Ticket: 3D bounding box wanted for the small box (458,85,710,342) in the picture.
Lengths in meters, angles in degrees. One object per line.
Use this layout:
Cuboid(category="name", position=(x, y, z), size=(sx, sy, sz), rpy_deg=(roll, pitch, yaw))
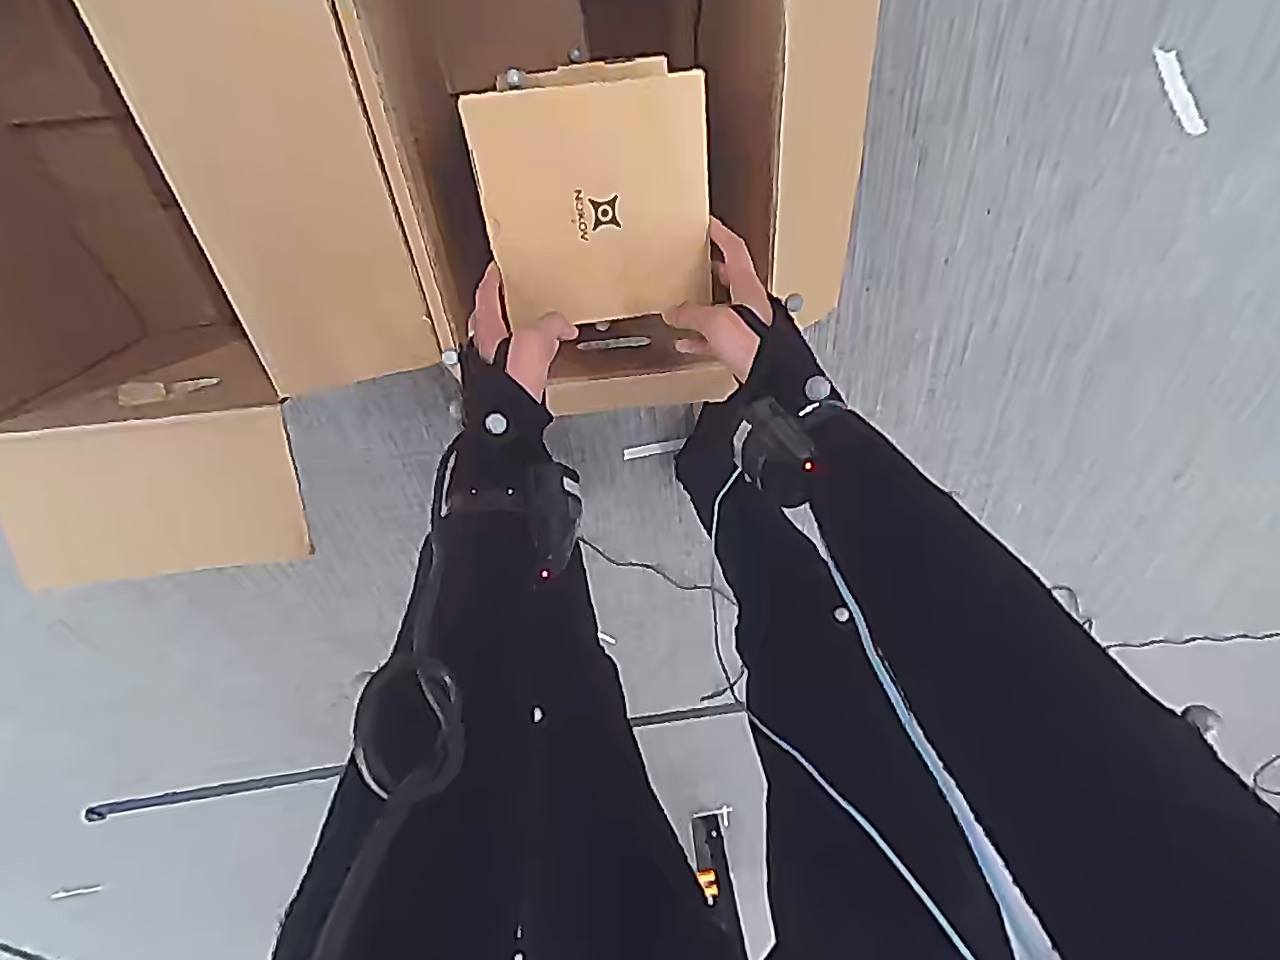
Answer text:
Cuboid(category="small box", position=(-0.043, -0.238, 0.484), size=(0.179, 0.176, 0.168), rpy_deg=(-9, 121, -2))
